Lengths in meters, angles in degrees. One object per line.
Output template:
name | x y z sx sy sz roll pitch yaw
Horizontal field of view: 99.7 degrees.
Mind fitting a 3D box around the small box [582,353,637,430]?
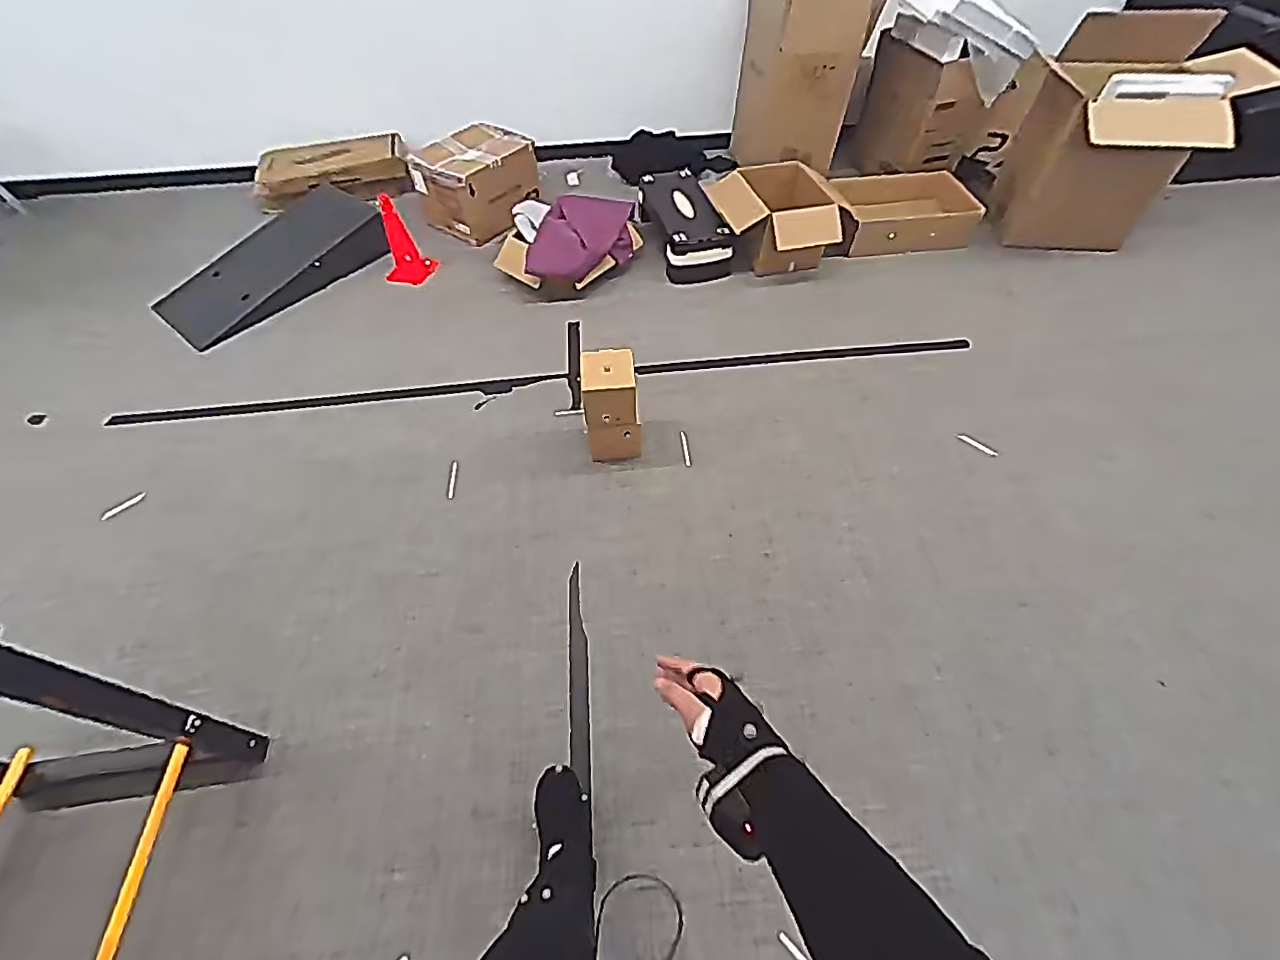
small box | -0.098 -0.283 1.732 0.168 0.176 0.179 -5 55 -2

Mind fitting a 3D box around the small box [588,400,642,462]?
small box | -0.090 -0.178 1.857 0.179 0.176 0.168 -6 54 -3
